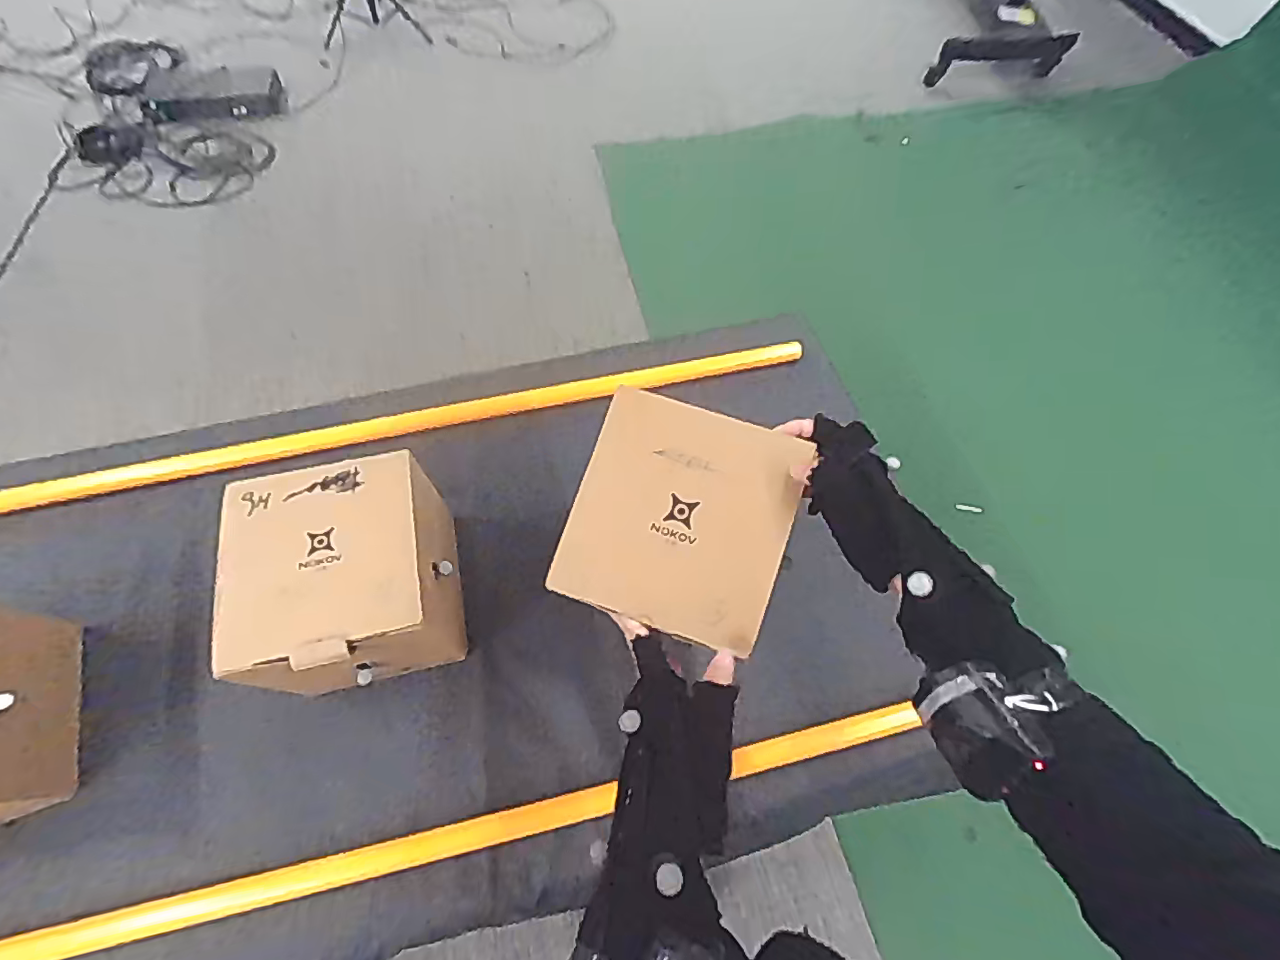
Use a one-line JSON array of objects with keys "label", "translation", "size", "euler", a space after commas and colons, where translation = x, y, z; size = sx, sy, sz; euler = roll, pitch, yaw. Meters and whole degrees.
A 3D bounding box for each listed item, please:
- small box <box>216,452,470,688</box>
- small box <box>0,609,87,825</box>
[{"label": "small box", "translation": [-0.284, 0.101, 0.548], "size": [0.168, 0.176, 0.179], "euler": [-15, 65, -8]}, {"label": "small box", "translation": [-0.638, 0.218, 0.466], "size": [0.168, 0.176, 0.179], "euler": [-18, 67, -12]}]
